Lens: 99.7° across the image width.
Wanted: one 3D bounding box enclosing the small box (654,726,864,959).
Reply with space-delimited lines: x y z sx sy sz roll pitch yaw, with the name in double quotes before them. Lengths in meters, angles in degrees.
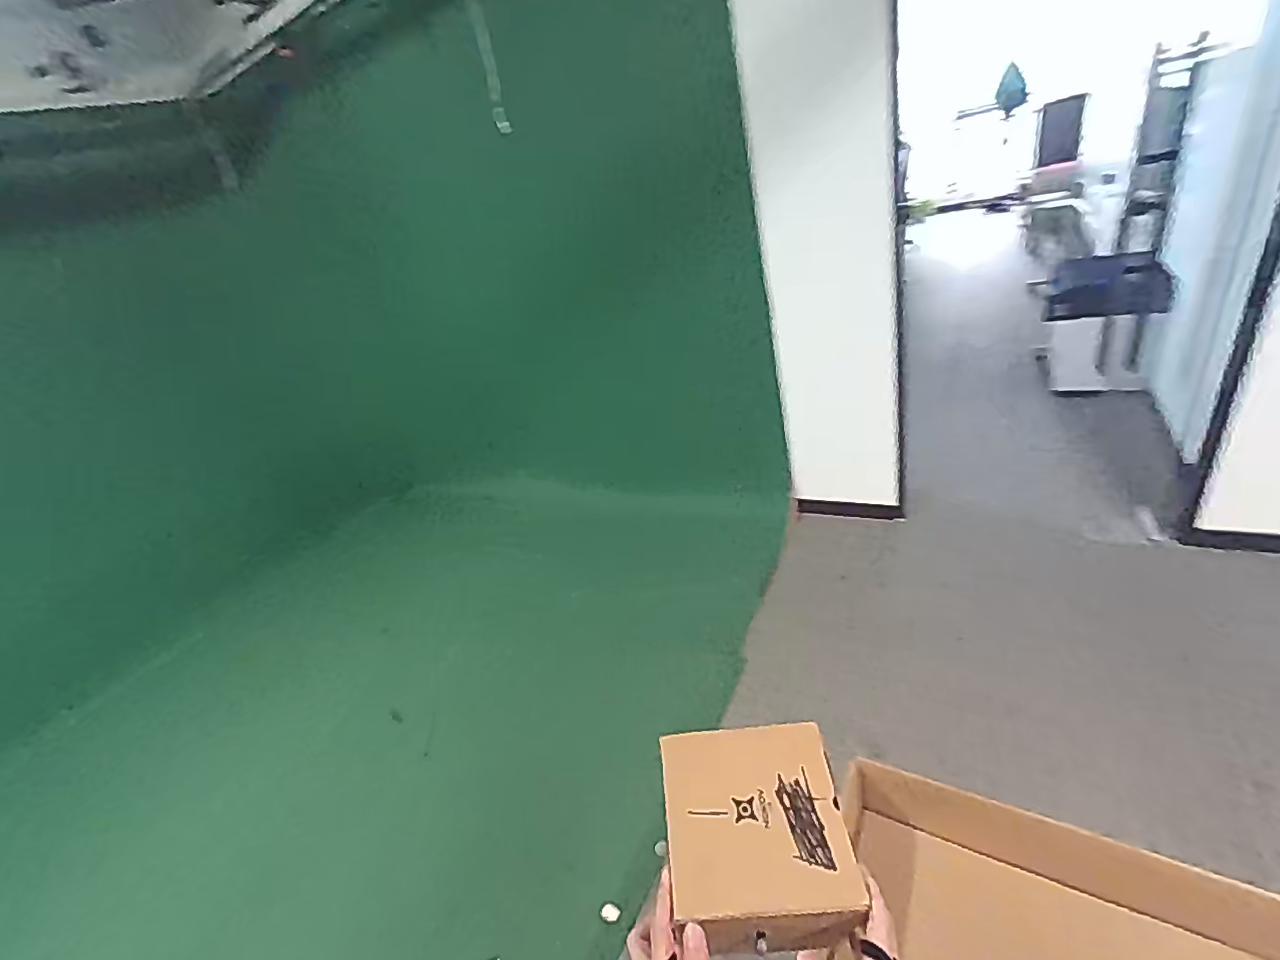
"small box" 0.110 0.384 0.572 0.179 0.176 0.168 -6 39 2
